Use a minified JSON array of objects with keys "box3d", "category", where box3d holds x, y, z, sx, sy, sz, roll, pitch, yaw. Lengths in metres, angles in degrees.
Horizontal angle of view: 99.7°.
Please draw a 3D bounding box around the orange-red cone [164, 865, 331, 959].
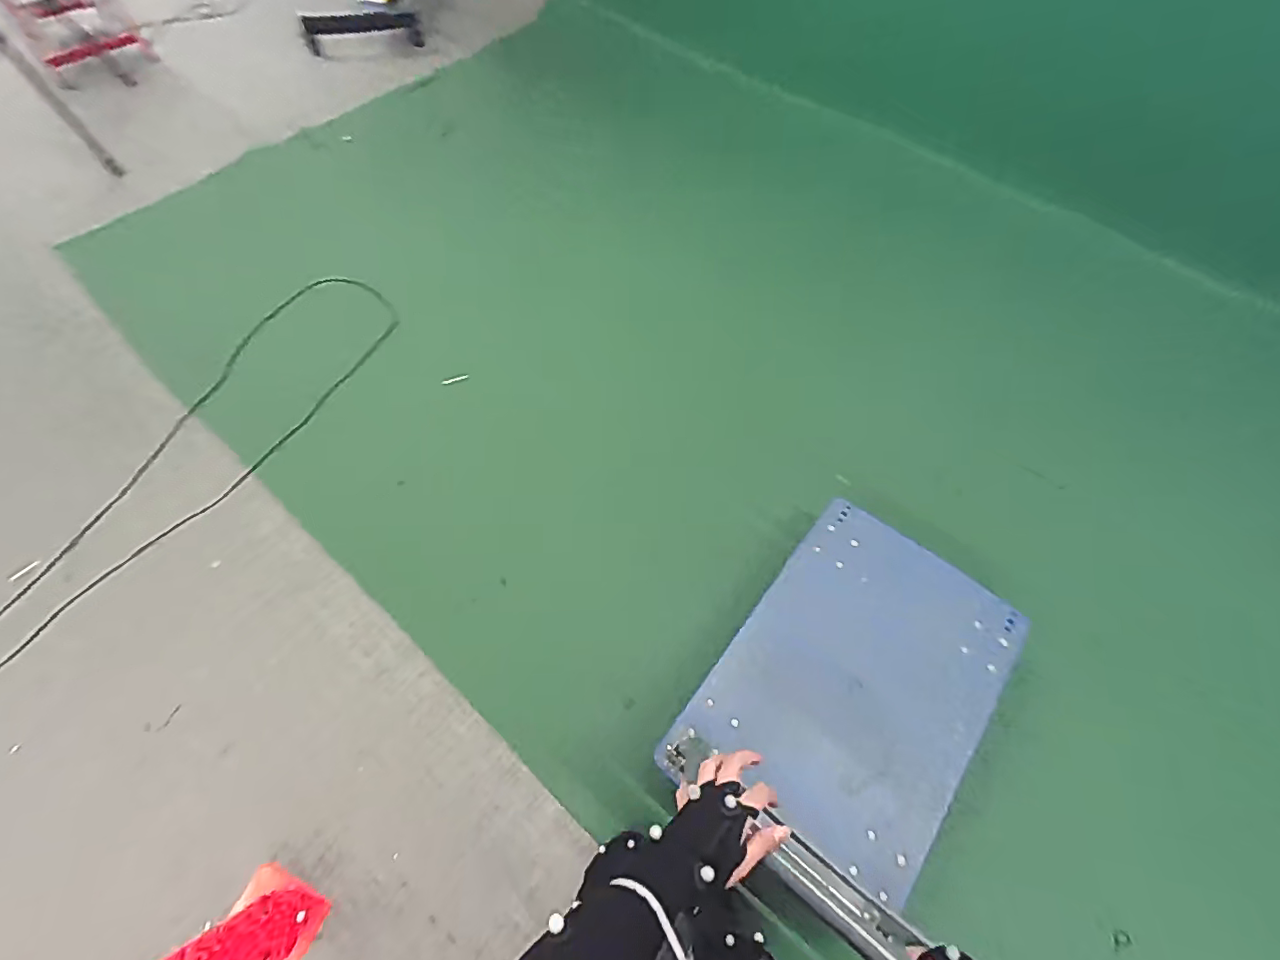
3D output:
[{"box3d":[-0.819,0.920,1.051,0.199,0.360,0.198,23,63,13],"category":"orange-red cone"}]
